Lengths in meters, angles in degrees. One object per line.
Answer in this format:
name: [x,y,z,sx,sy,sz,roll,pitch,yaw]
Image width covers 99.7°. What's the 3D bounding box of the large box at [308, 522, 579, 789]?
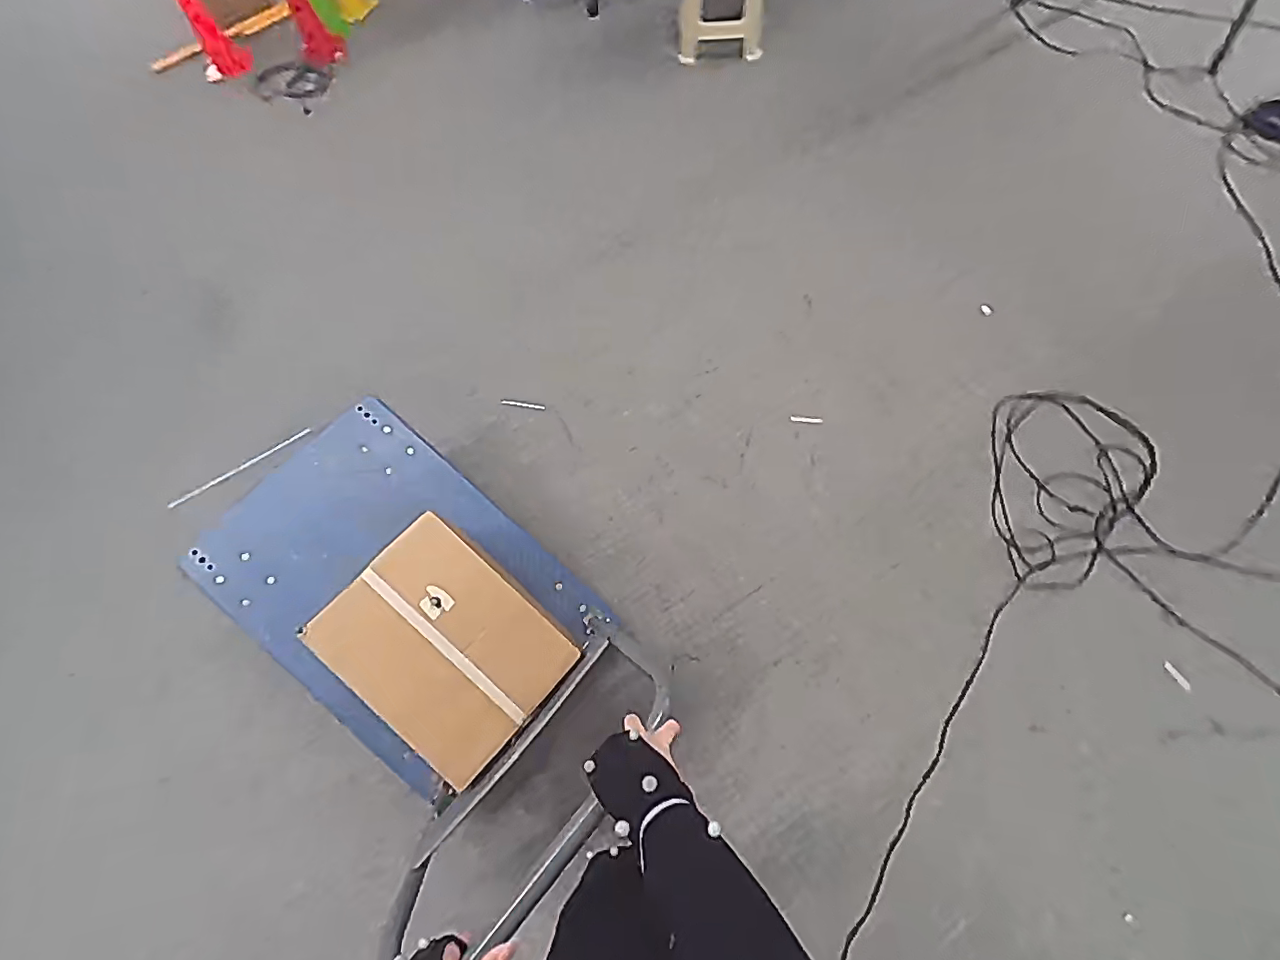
large box: [-0.376,0.348,1.150,0.408,0.320,0.320,42,75,3]
